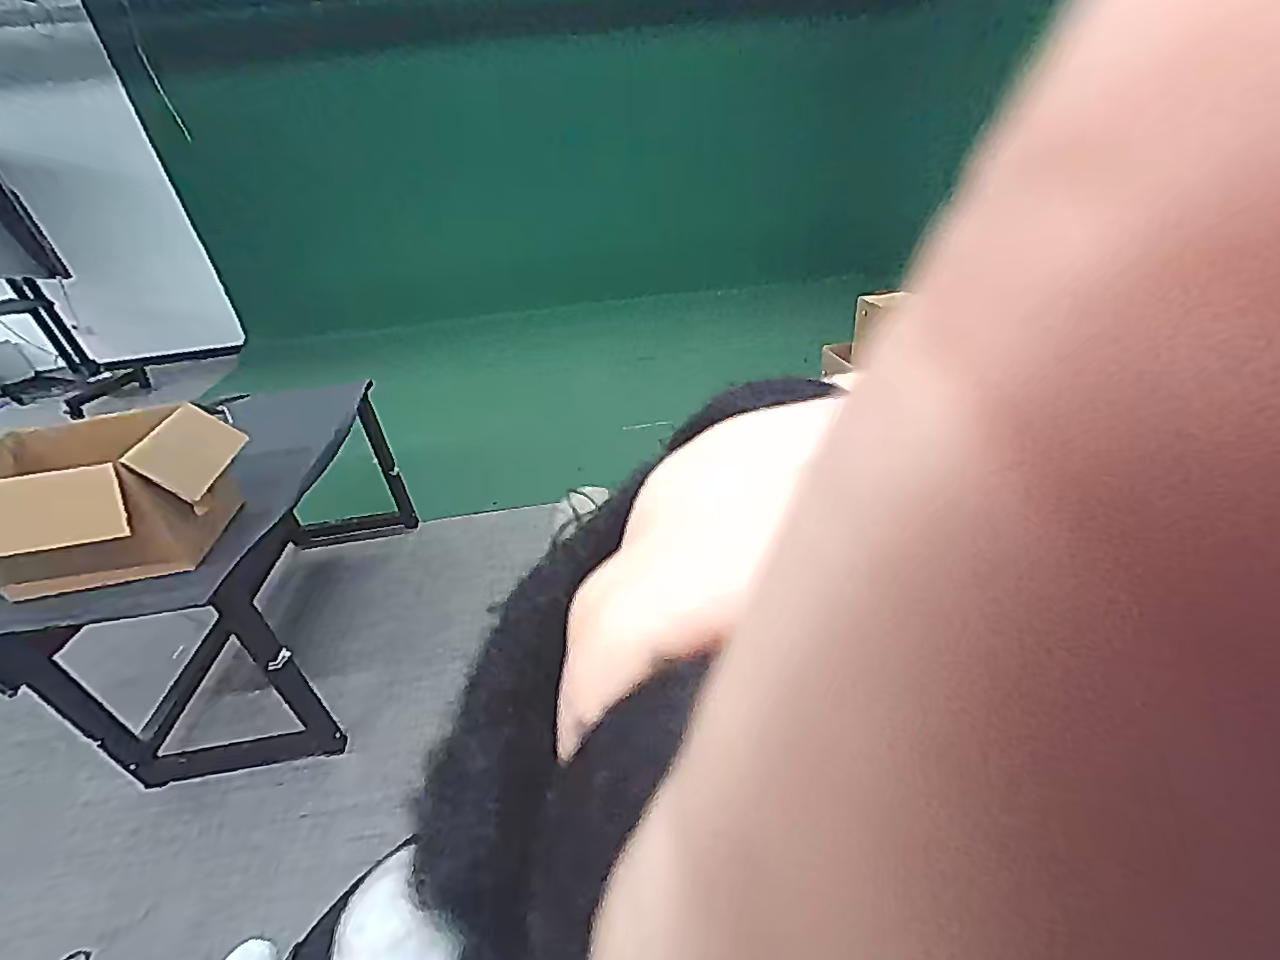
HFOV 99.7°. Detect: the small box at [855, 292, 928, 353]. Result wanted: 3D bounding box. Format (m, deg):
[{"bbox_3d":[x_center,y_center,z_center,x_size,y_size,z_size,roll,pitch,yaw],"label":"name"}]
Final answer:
[{"bbox_3d":[0.863,-0.547,1.877,0.168,0.176,0.179,-7,29,0],"label":"small box"}]
